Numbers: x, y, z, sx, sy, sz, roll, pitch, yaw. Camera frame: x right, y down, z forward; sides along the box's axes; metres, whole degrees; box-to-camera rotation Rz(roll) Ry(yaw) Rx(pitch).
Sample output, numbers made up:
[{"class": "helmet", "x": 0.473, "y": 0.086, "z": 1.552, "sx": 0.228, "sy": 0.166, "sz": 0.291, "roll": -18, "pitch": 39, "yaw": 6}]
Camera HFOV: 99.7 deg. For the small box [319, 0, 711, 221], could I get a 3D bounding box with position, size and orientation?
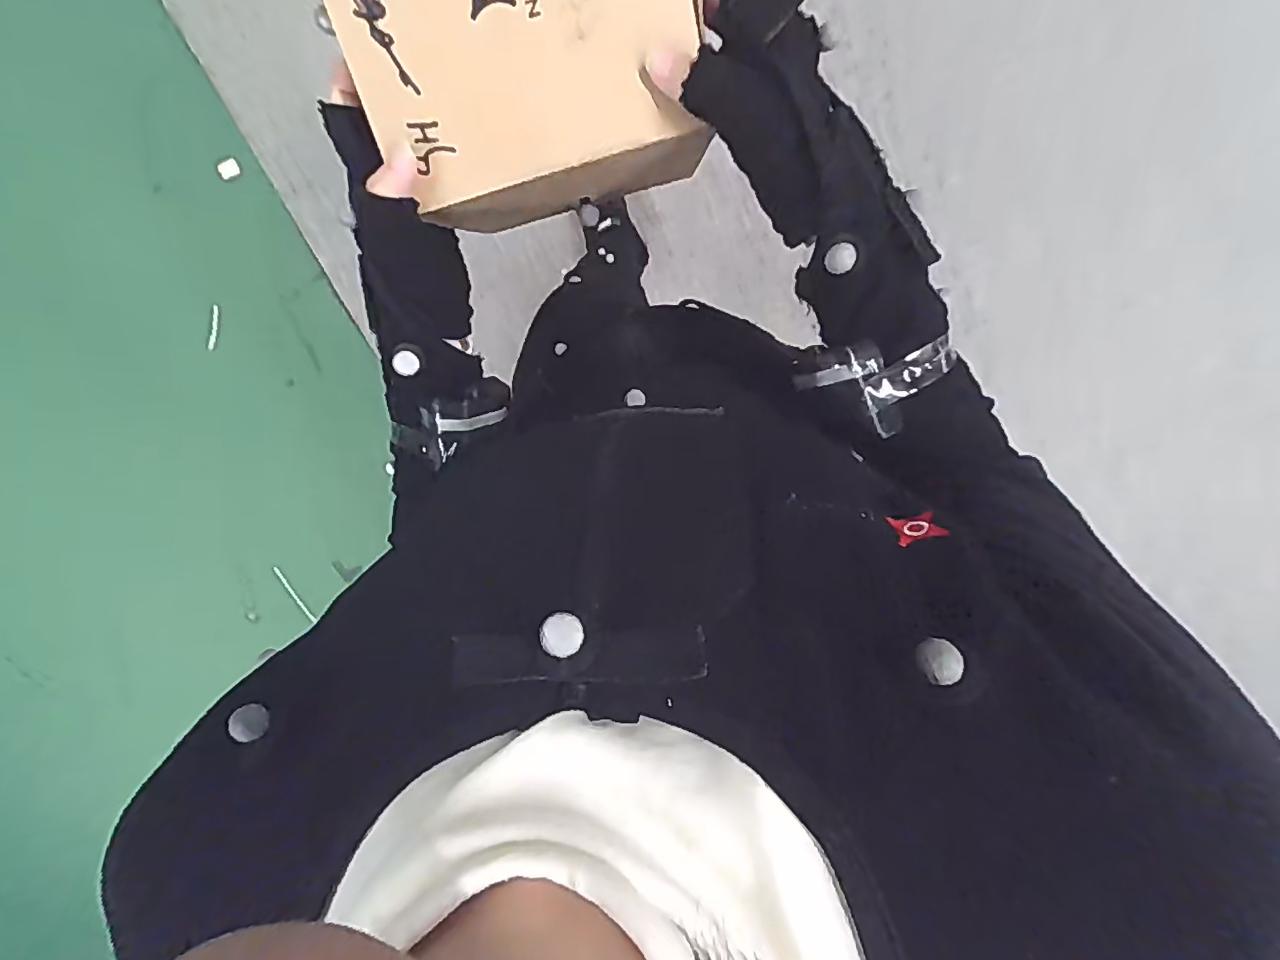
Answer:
[{"class": "small box", "x": -0.068, "y": -0.273, "z": 0.331, "sx": 0.179, "sy": 0.176, "sz": 0.168, "roll": -15, "pitch": 111, "yaw": 8}]
